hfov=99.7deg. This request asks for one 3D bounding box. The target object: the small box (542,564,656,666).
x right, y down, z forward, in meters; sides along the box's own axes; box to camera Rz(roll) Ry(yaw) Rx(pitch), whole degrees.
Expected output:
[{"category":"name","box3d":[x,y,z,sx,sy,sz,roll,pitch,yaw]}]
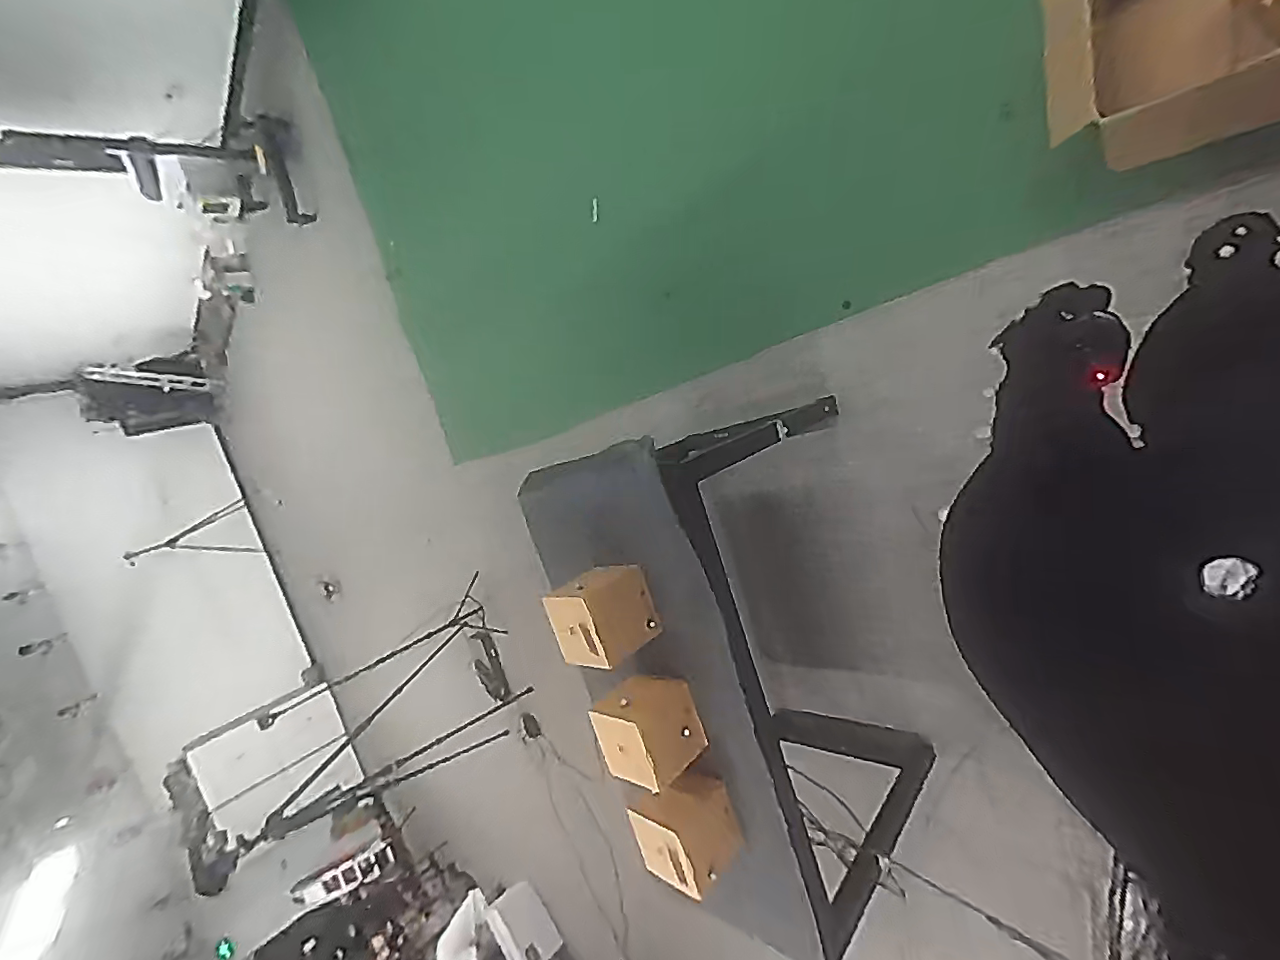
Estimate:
[{"category":"small box","box3d":[-0.085,0.298,1.225,0.179,0.176,0.168,-14,97,48]}]

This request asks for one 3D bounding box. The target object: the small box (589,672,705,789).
[{"category":"small box","box3d":[0.018,0.561,1.239,0.179,0.176,0.168,-14,97,47]}]
